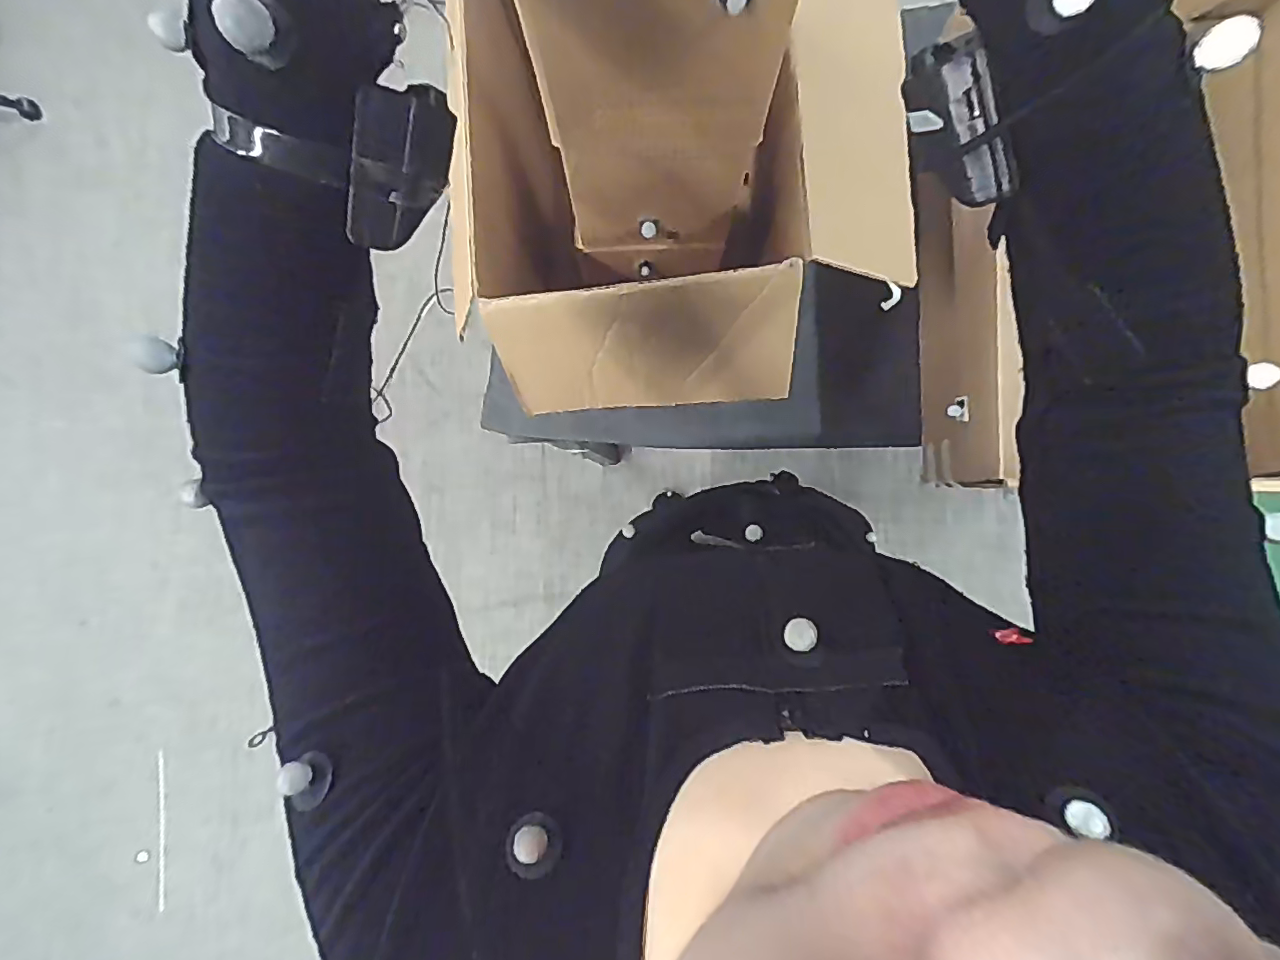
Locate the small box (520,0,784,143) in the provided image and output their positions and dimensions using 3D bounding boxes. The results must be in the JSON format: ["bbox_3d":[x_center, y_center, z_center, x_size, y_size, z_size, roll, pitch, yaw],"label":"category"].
[{"bbox_3d":[0.007,-0.368,0.379,0.179,0.176,0.168,-1,87,0],"label":"small box"}]
